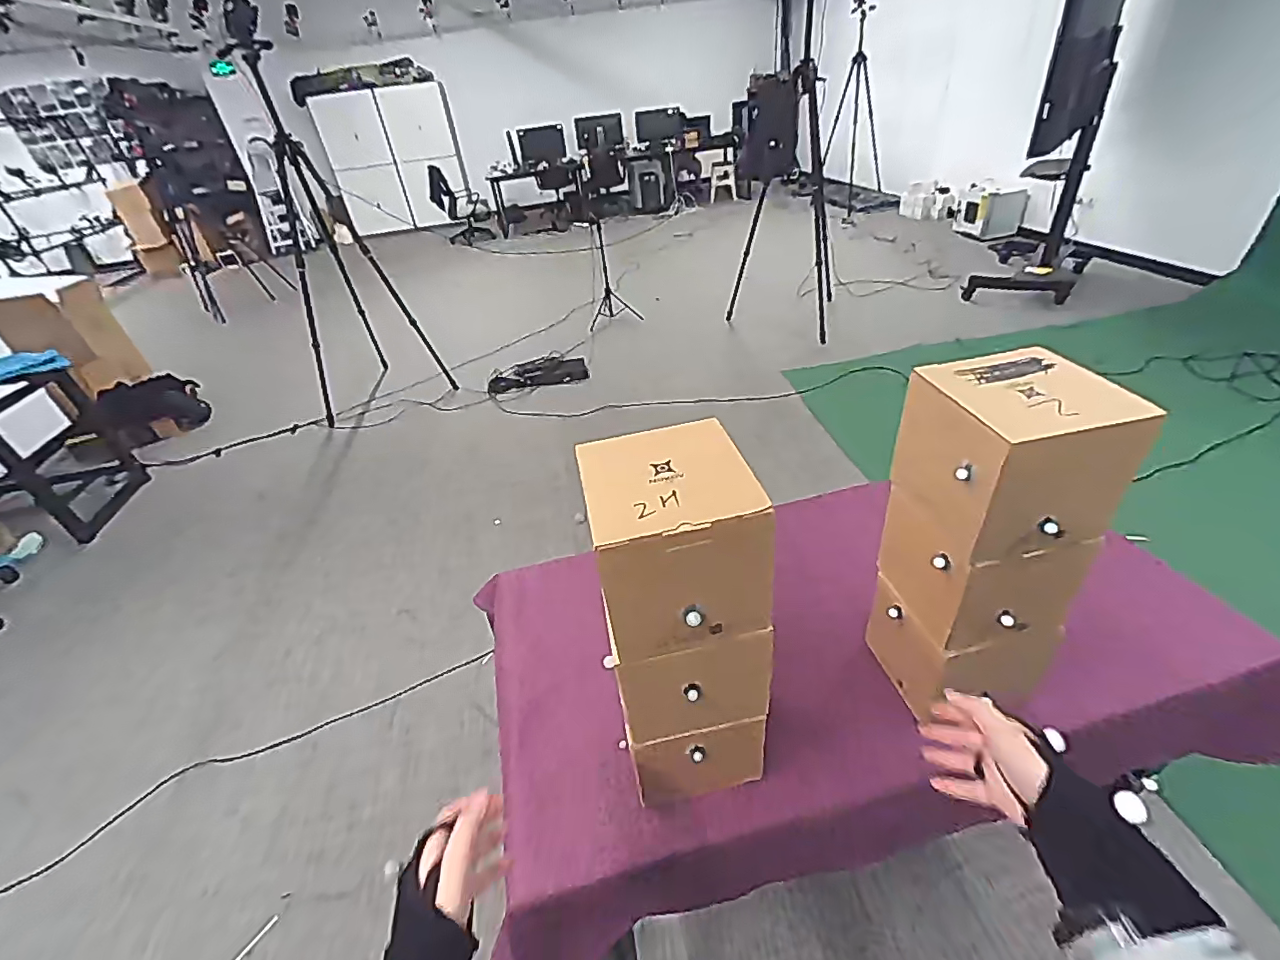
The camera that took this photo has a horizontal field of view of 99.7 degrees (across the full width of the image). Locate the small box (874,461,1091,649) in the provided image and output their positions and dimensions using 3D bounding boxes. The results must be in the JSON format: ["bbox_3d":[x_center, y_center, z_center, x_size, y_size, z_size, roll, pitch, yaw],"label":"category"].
[{"bbox_3d":[0.446,0.100,0.744,0.168,0.176,0.179,-12,37,-5],"label":"small box"}]

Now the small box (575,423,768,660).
[{"bbox_3d":[0.029,0.063,0.593,0.168,0.176,0.179,-12,37,-5],"label":"small box"}]

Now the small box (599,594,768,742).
[{"bbox_3d":[0.049,0.199,0.685,0.179,0.176,0.168,-12,36,-4],"label":"small box"}]

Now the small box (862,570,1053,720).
[{"bbox_3d":[0.469,0.237,0.831,0.179,0.176,0.168,-11,35,-6],"label":"small box"}]

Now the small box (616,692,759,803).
[{"bbox_3d":[0.062,0.333,0.778,0.179,0.176,0.168,-11,36,-5],"label":"small box"}]
